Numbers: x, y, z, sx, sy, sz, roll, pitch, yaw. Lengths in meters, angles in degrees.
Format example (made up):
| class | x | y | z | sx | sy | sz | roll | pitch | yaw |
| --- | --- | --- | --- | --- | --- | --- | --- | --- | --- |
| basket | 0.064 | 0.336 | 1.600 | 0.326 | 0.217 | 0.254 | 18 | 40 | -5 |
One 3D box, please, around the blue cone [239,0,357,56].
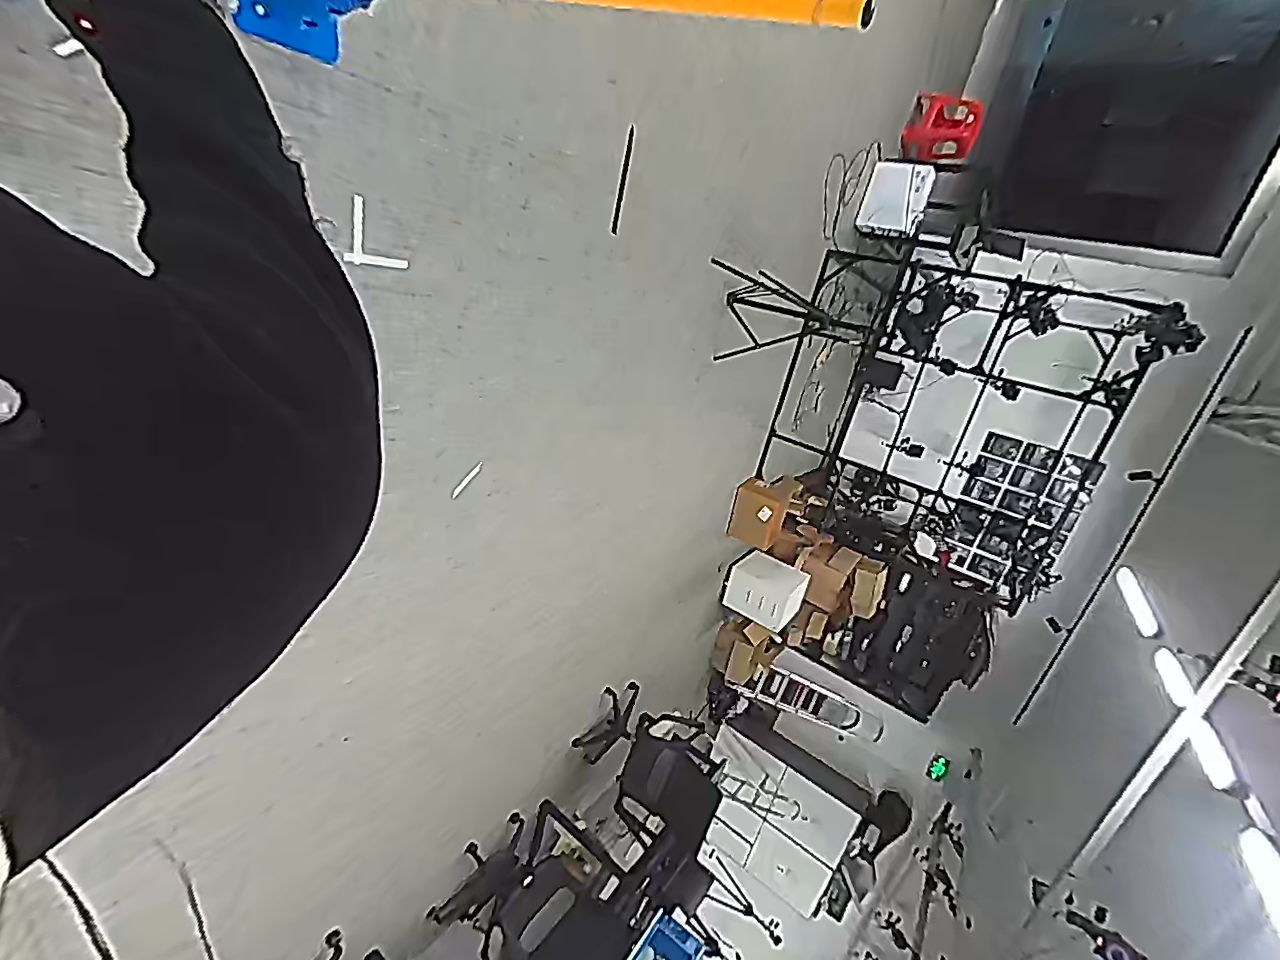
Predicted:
| class | x | y | z | sx | sy | sz | roll | pitch | yaw |
| --- | --- | --- | --- | --- | --- | --- | --- | --- | --- |
| blue cone | -0.566 | -0.919 | 0.993 | 0.193 | 0.380 | 0.192 | -21 | 127 | -52 |
